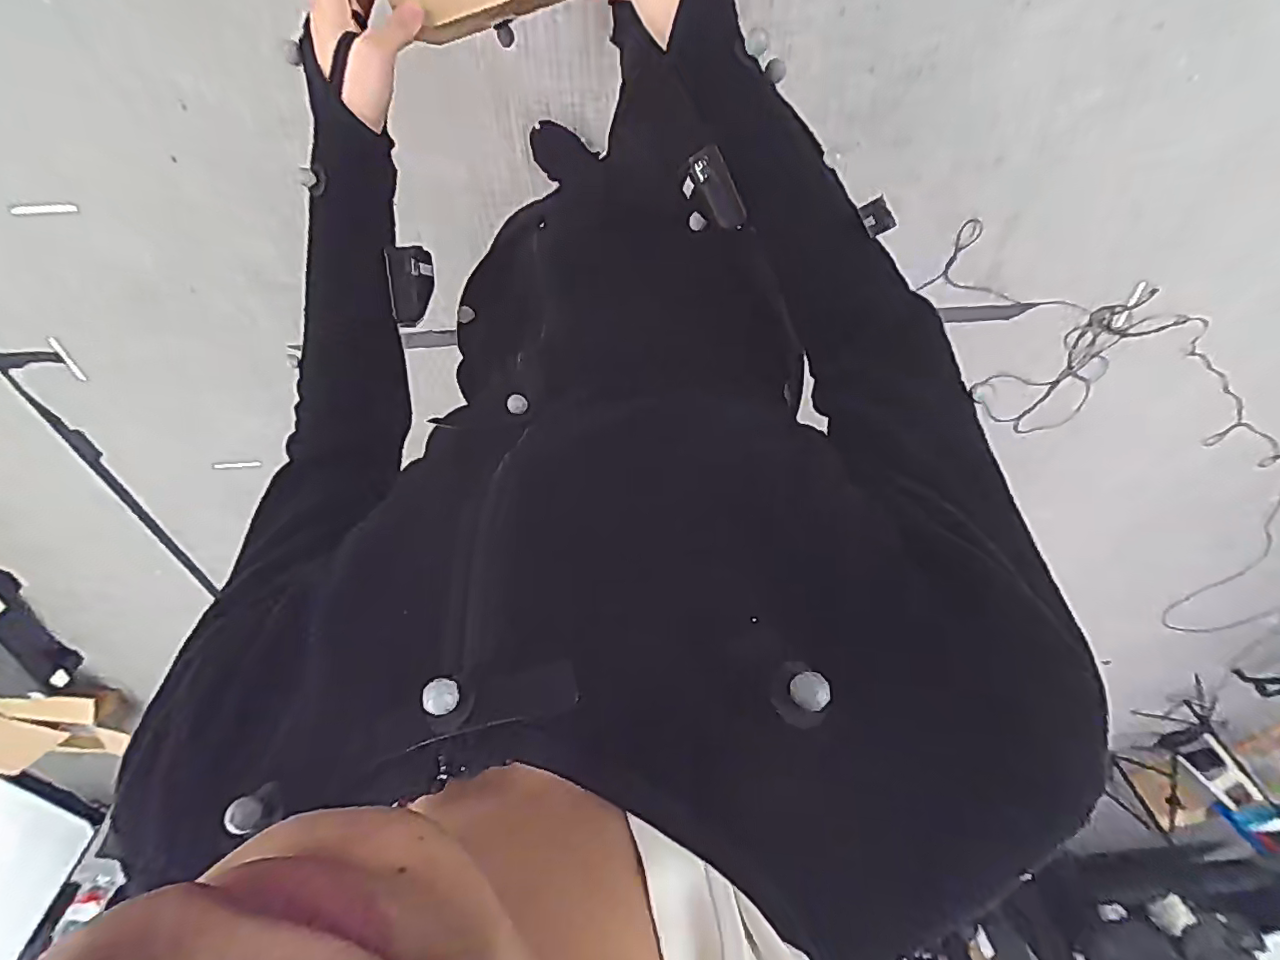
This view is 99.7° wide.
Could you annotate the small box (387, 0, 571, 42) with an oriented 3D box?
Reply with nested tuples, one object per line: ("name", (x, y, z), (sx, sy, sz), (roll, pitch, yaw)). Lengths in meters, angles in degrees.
("small box", (-0.128, -0.457, 0.396), (0.168, 0.176, 0.179), (-17, 127, 5))
